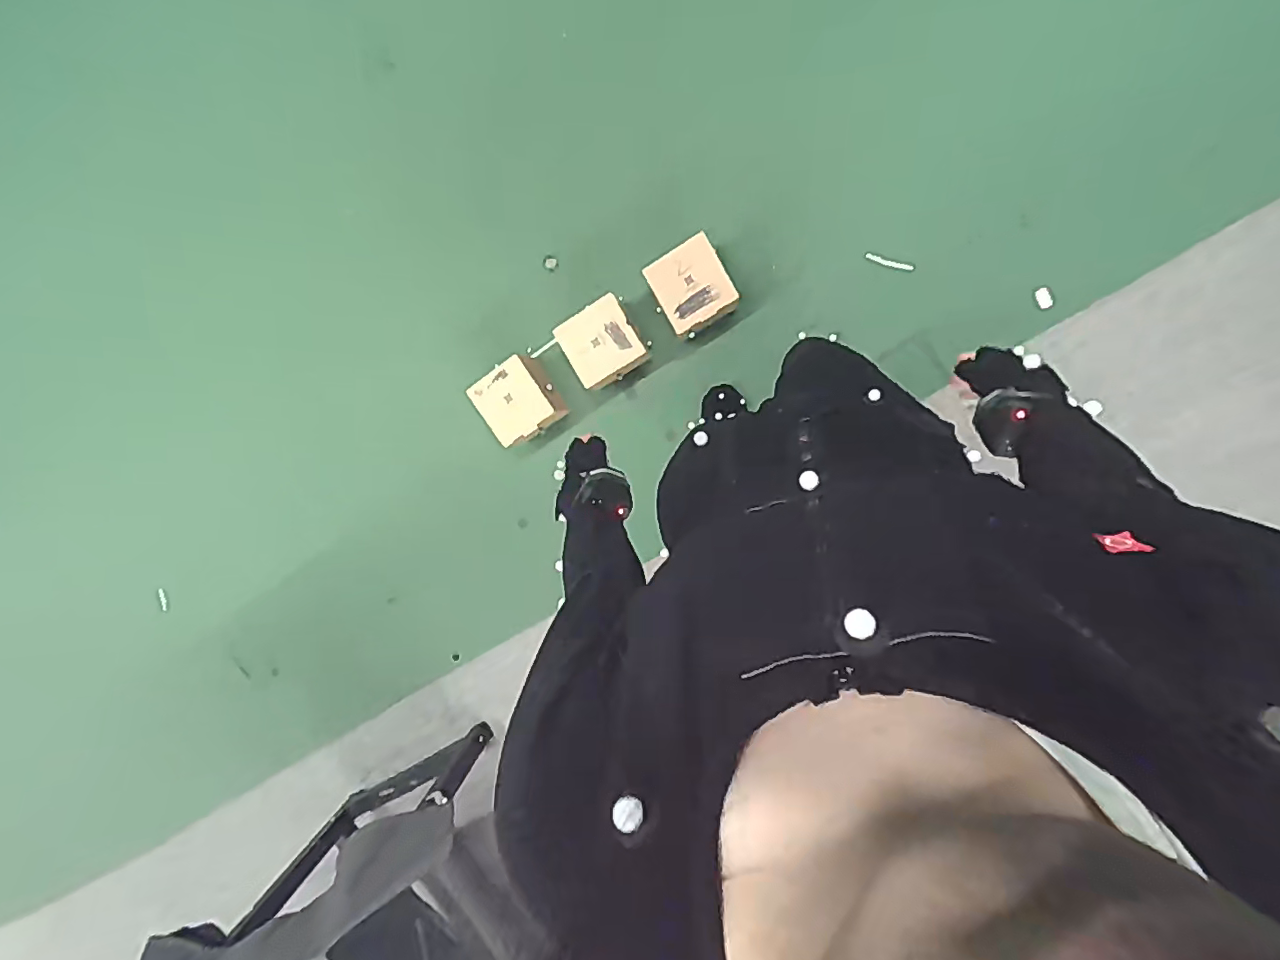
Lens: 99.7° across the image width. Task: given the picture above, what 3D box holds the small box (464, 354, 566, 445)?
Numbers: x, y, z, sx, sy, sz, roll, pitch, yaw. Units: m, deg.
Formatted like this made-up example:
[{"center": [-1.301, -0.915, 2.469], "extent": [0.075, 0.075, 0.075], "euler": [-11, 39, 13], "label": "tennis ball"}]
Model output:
[{"center": [-0.317, -0.214, 1.418], "extent": [0.168, 0.176, 0.179], "euler": [-32, 95, 11], "label": "small box"}]
